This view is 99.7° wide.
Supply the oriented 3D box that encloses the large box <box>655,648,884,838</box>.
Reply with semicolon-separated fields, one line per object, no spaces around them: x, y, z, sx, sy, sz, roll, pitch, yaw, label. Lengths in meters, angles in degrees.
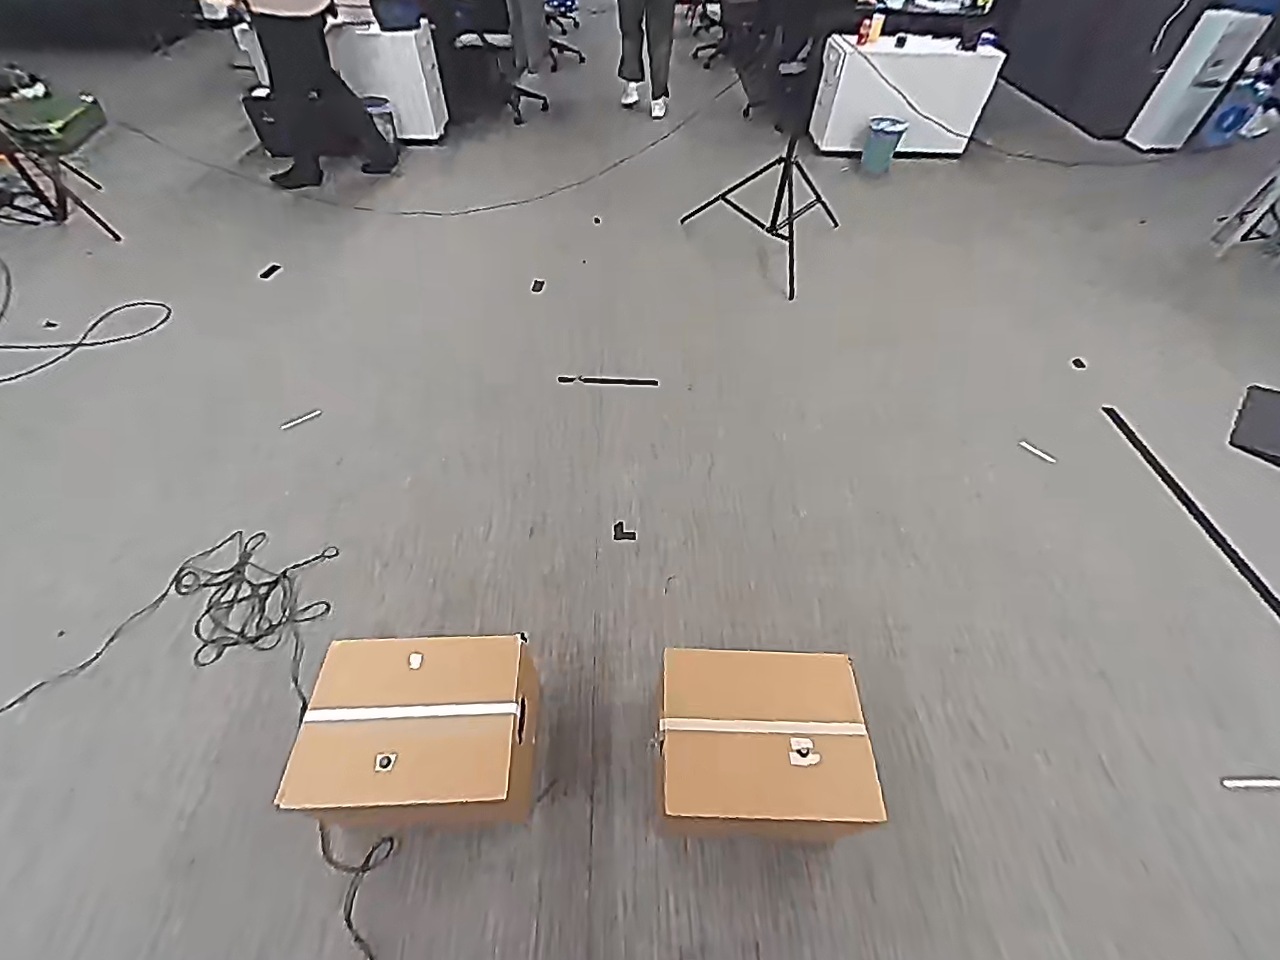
0.244;0.586;1.192;0.408;0.320;0.320;3;50;-1;large box
